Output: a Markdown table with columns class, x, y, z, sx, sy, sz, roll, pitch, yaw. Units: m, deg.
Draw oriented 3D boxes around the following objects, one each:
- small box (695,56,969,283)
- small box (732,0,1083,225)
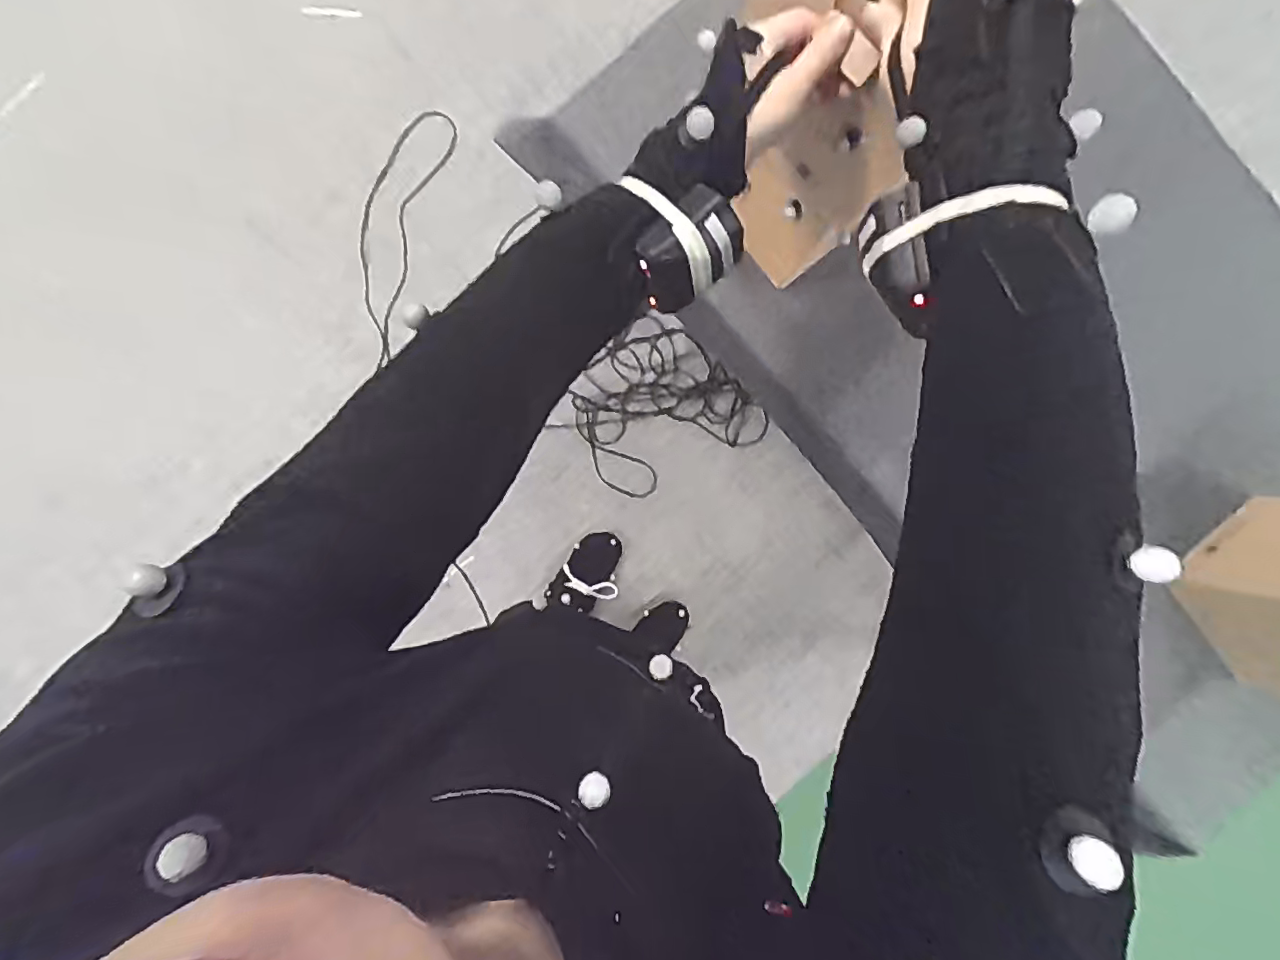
| class | x | y | z | sx | sy | sz | roll | pitch | yaw |
| --- | --- | --- | --- | --- | --- | --- | --- | --- | --- |
| small box | 0.178 | -0.342 | 0.562 | 0.168 | 0.176 | 0.179 | -39 | 93 | -3 |
| small box | 0.187 | -0.332 | 0.400 | 0.168 | 0.176 | 0.179 | 45 | 86 | -5 |
